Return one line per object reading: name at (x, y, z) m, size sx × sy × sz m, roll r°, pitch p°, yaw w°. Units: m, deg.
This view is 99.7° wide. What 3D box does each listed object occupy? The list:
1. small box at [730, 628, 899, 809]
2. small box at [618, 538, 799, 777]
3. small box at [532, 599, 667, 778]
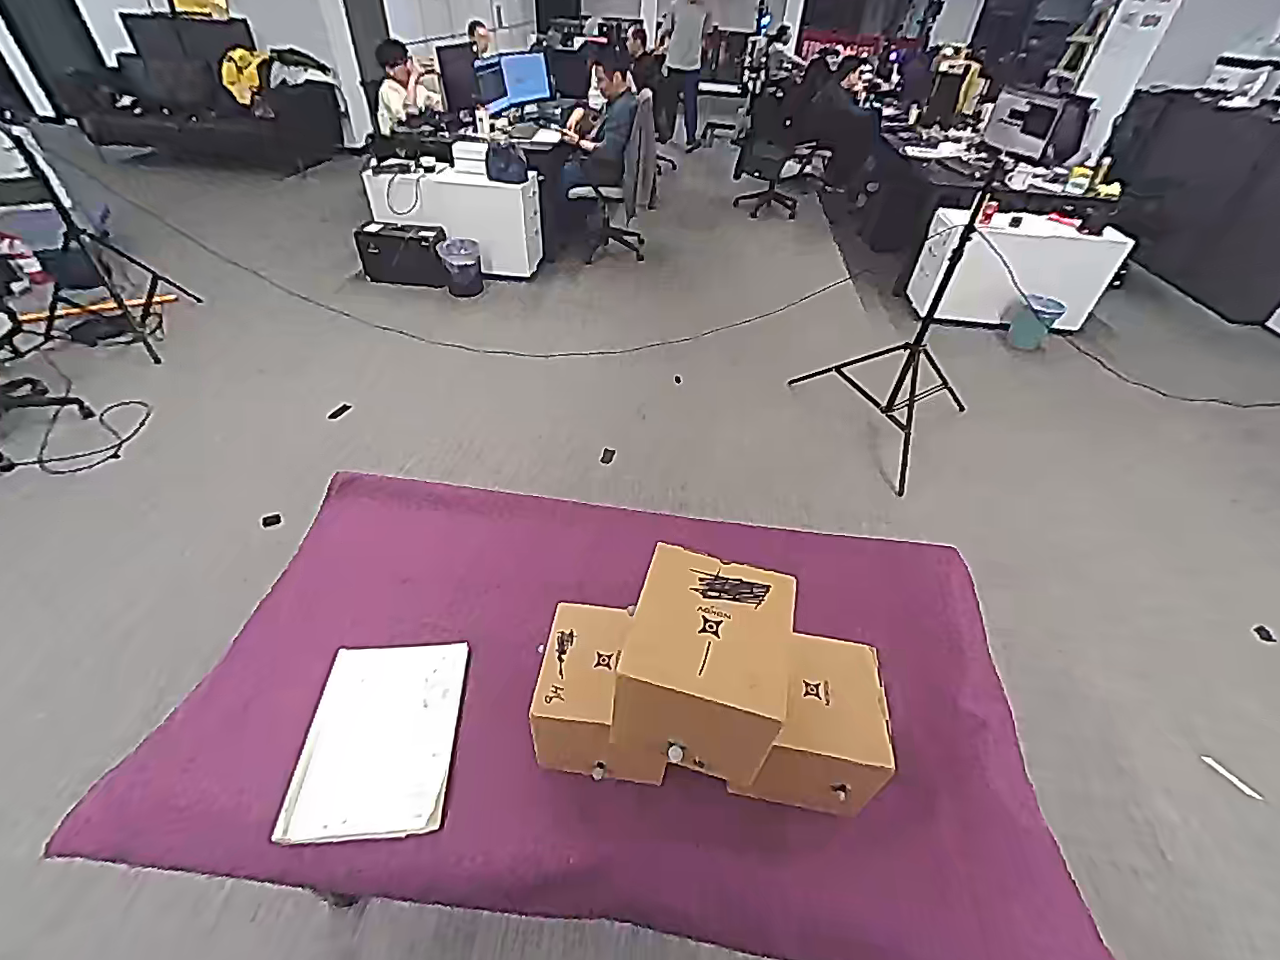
small box at (0.224, 0.322, 0.737) m, size 0.179 × 0.176 × 0.168 m, roll 7°, pitch 40°, yaw 7°
small box at (0.074, 0.199, 0.616) m, size 0.168 × 0.176 × 0.179 m, roll 13°, pitch 43°, yaw 9°
small box at (-0.040, 0.292, 0.752) m, size 0.179 × 0.176 × 0.168 m, roll 7°, pitch 41°, yaw 3°
